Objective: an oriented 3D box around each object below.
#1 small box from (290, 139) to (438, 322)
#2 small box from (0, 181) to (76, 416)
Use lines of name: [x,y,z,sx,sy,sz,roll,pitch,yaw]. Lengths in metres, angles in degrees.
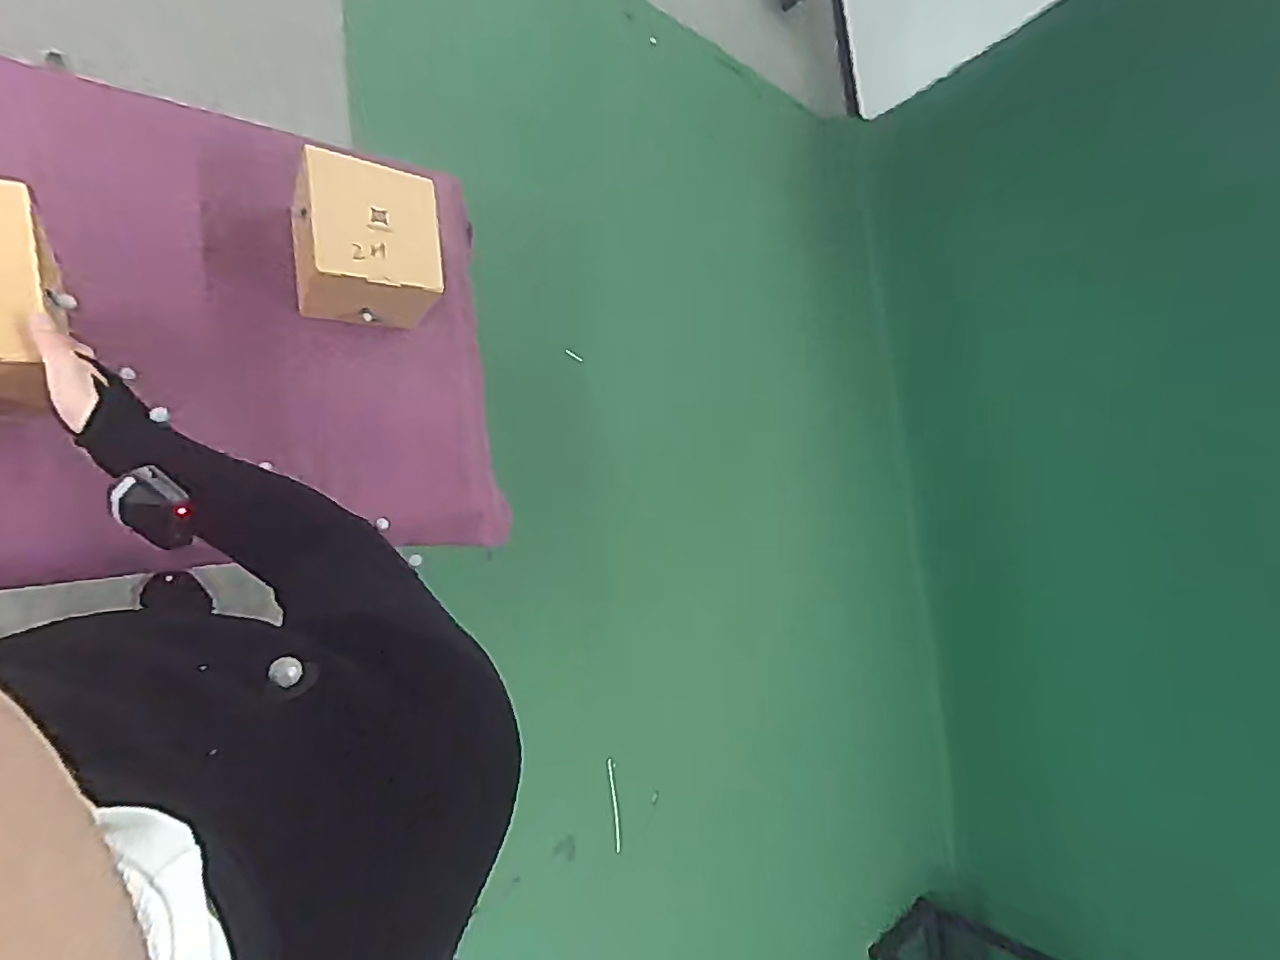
small box: [-0.420,-0.359,0.816,0.168,0.176,0.179,-4,87,-38]
small box: [-0.660,-0.166,0.502,0.168,0.176,0.179,-10,86,-42]
